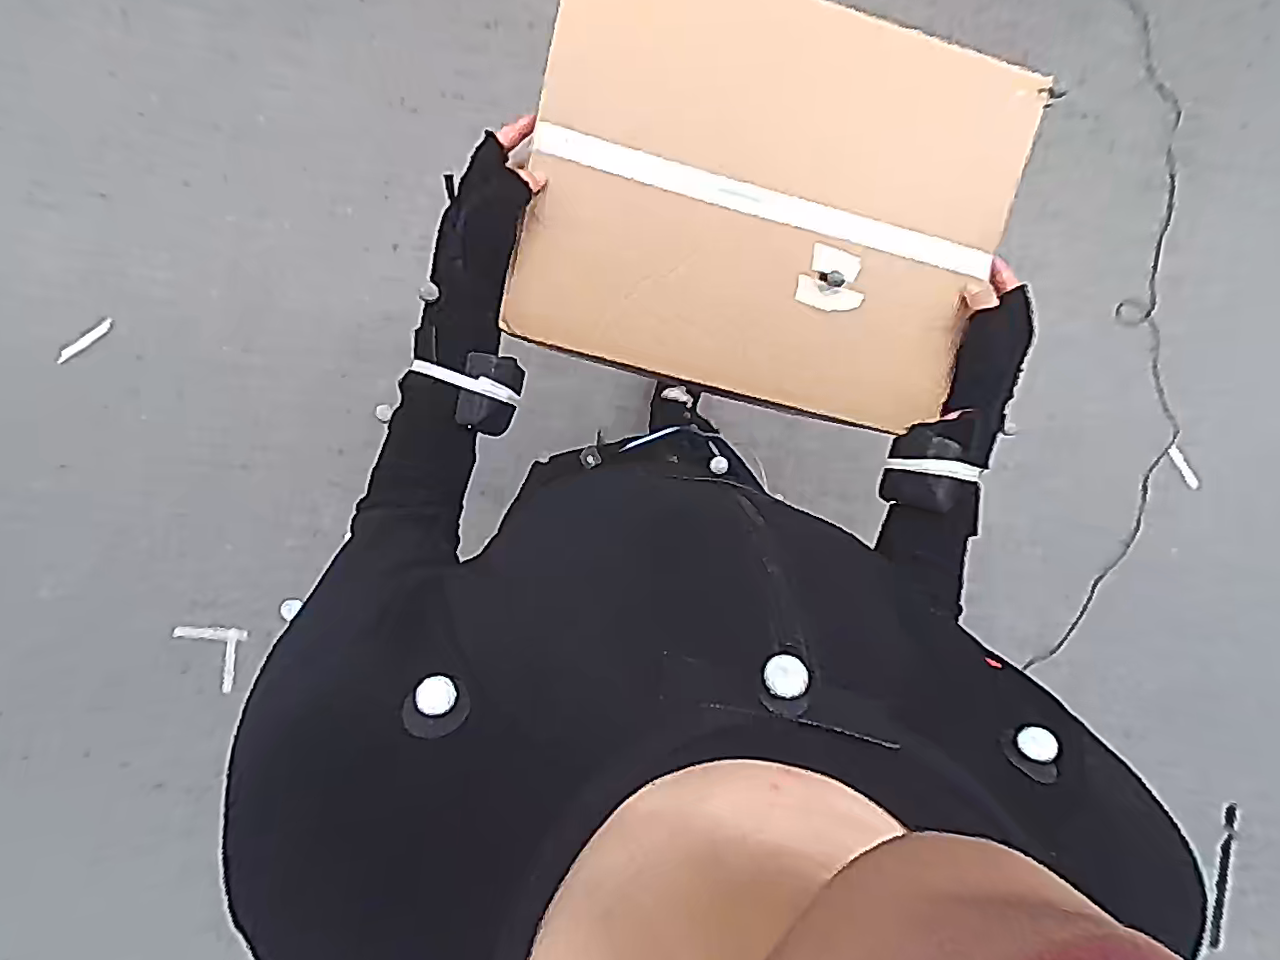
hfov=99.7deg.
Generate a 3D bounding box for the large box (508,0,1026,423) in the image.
[{"bbox_3d":[0.096,-0.269,0.614,0.408,0.320,0.320,13,101,-7],"label":"large box"}]
